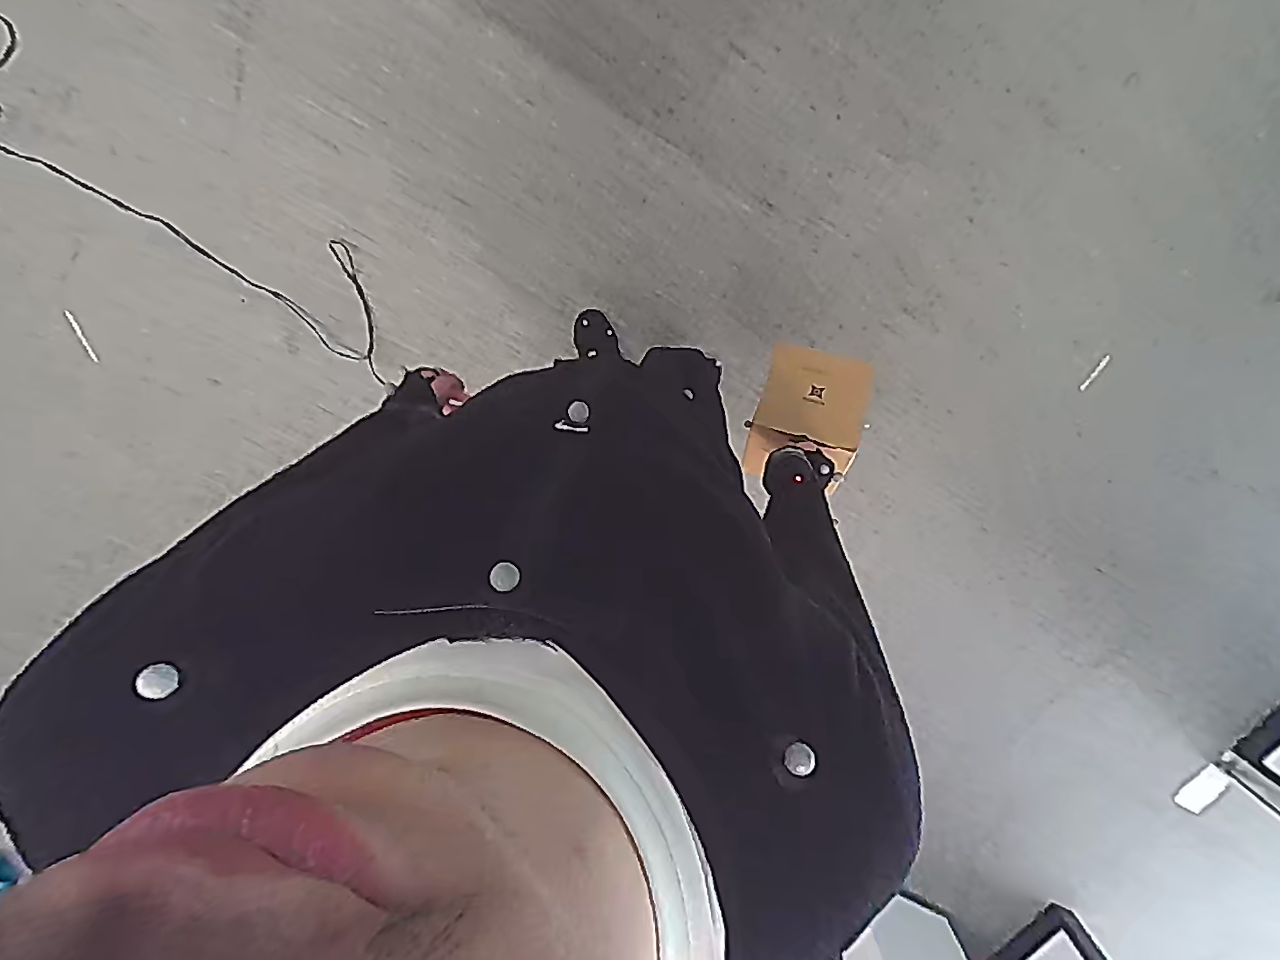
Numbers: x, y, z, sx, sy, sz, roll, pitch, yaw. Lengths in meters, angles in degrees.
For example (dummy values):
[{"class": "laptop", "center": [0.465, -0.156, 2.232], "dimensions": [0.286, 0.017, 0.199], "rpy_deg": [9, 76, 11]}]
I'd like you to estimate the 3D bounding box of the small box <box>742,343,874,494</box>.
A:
[{"class": "small box", "center": [0.277, -0.099, 0.924], "dimensions": [0.168, 0.176, 0.179], "rpy_deg": [17, 67, 11]}]
